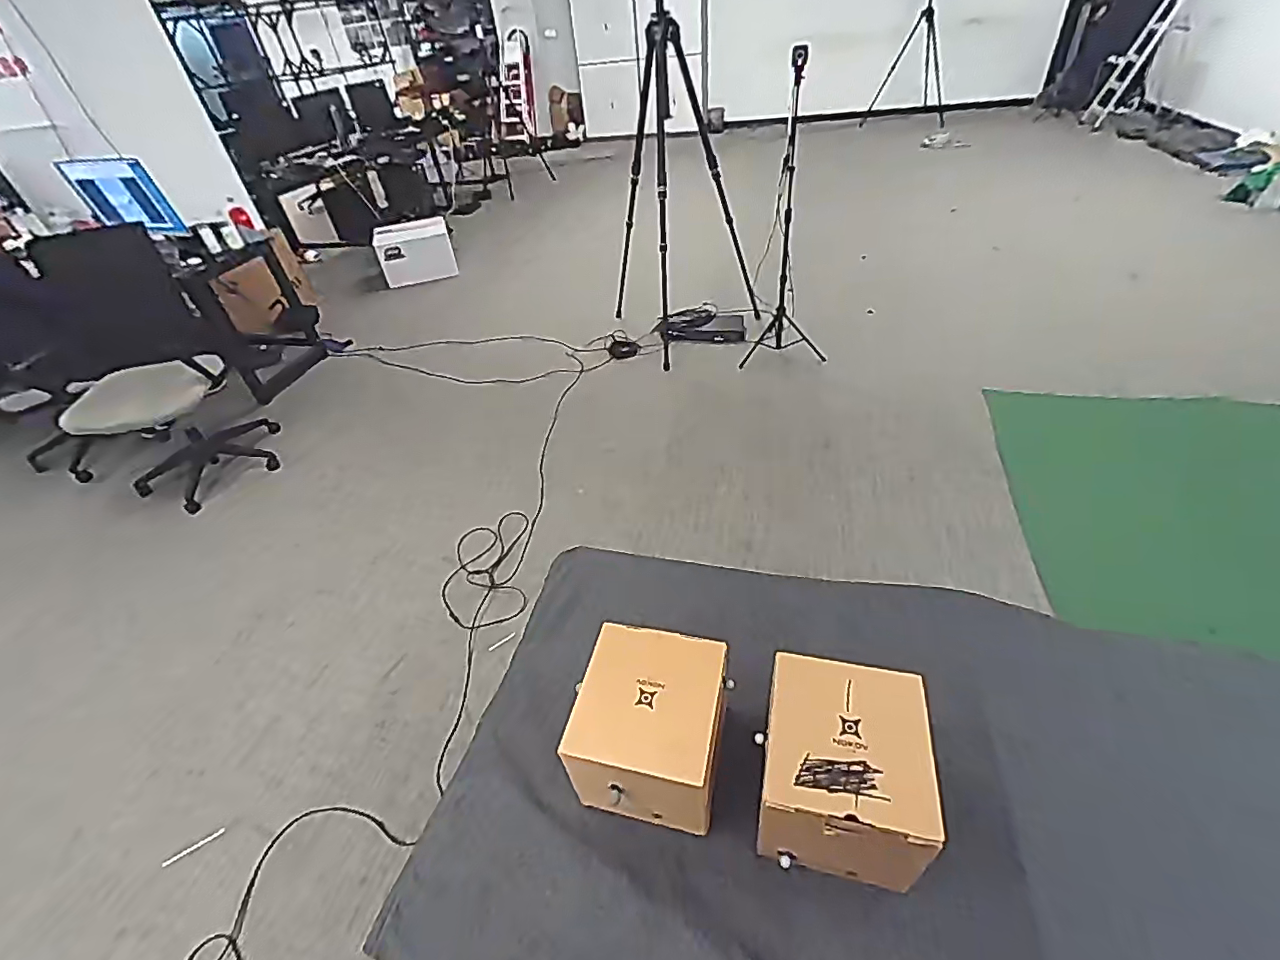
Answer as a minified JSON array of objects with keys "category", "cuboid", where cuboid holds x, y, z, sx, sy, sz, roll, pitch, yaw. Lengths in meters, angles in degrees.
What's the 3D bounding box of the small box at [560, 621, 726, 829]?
[{"category":"small box","cuboid":[0.018,0.311,0.689,0.168,0.176,0.179,6,42,15]}]
